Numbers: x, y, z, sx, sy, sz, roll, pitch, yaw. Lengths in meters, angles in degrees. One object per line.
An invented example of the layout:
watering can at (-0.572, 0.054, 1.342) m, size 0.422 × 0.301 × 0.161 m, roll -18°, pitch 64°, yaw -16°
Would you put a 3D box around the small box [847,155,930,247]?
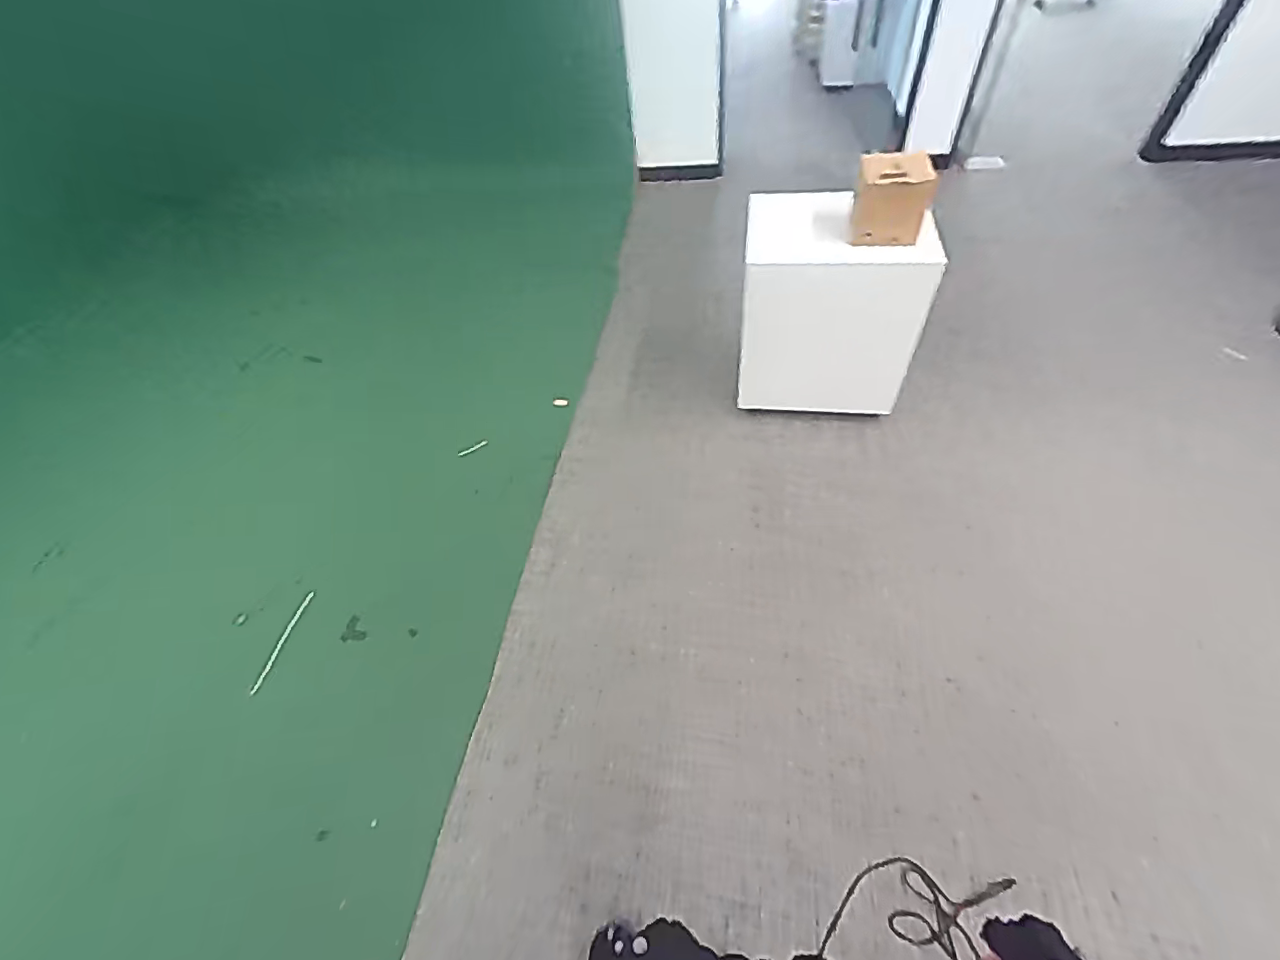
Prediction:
small box at (0.661, -0.748, 1.459) m, size 0.168 × 0.176 × 0.179 m, roll 4°, pitch 52°, yaw 11°
